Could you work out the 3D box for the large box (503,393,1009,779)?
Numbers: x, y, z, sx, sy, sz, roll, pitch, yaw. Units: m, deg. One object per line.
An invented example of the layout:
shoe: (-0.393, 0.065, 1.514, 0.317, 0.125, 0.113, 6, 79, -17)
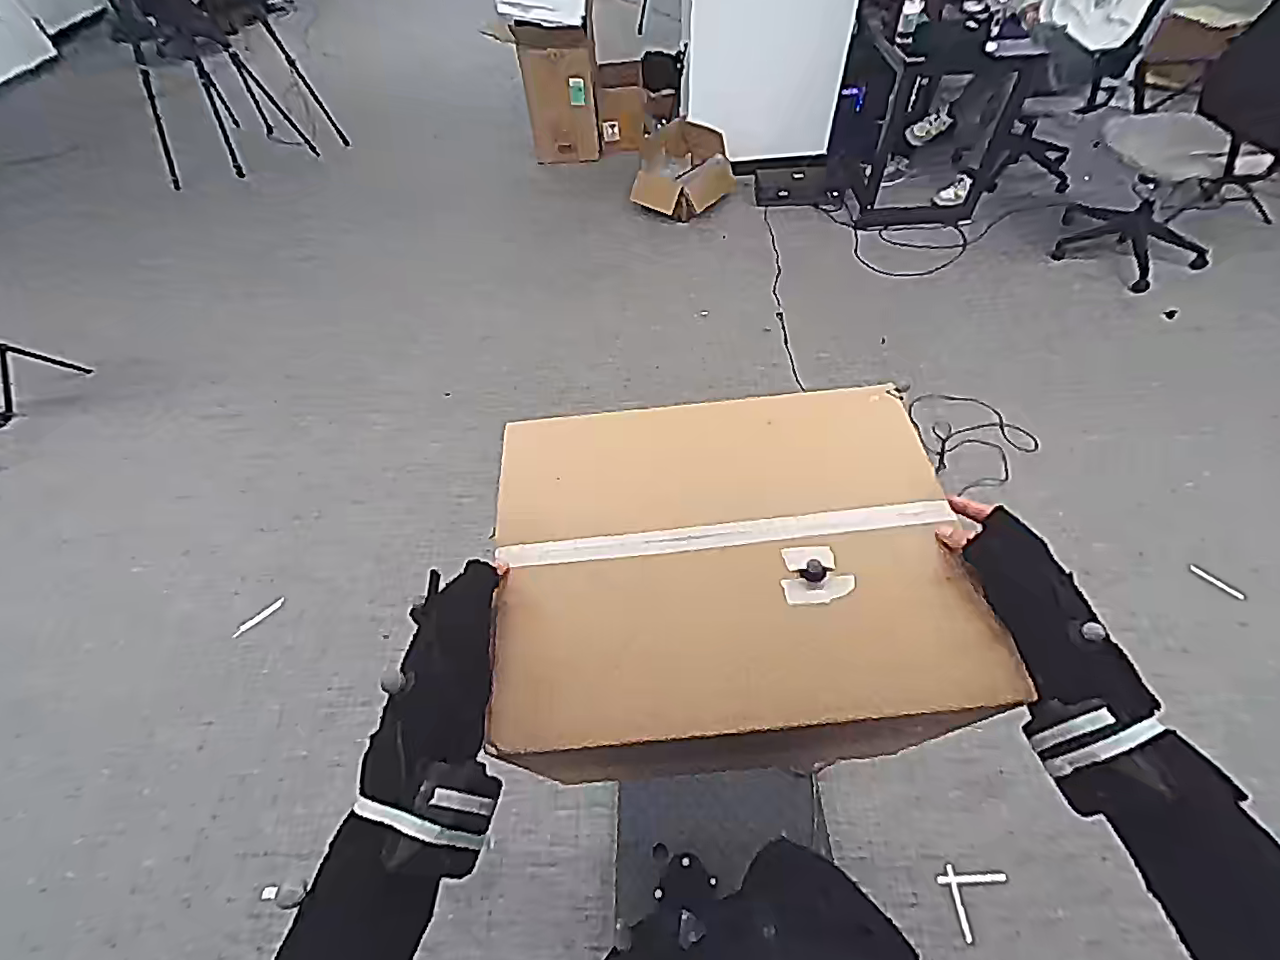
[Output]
large box: (0.083, 0.135, 0.619, 0.408, 0.320, 0.320, -6, 57, 0)
